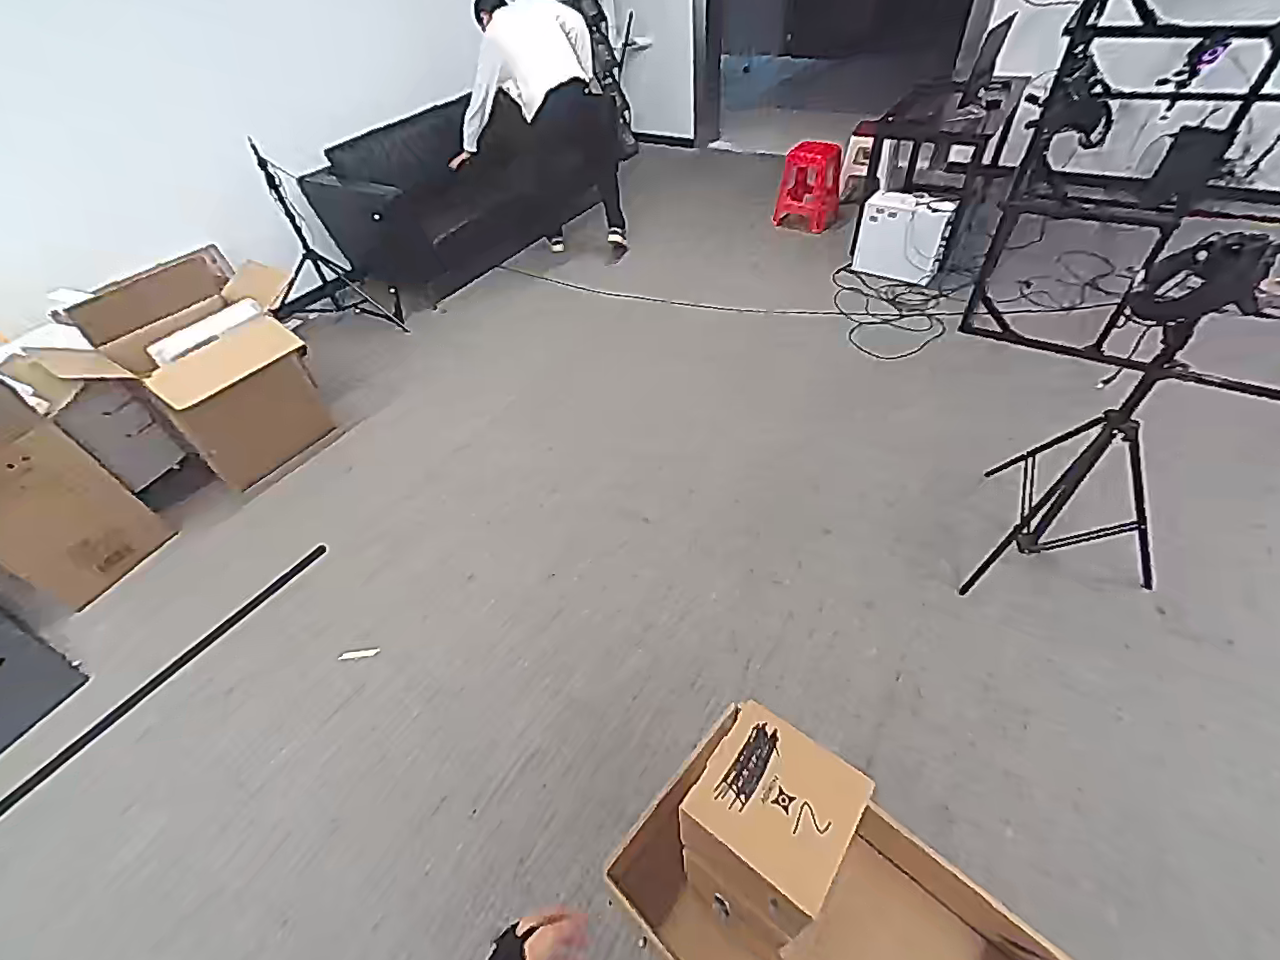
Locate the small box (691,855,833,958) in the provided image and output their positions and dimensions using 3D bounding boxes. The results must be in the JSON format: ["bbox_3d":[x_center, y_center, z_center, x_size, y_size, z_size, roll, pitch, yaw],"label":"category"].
[{"bbox_3d":[0.197,0.670,0.924,0.179,0.176,0.168,29,55,28],"label":"small box"}]

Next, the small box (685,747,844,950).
[{"bbox_3d":[0.180,0.551,0.812,0.168,0.176,0.179,26,53,28],"label":"small box"}]
